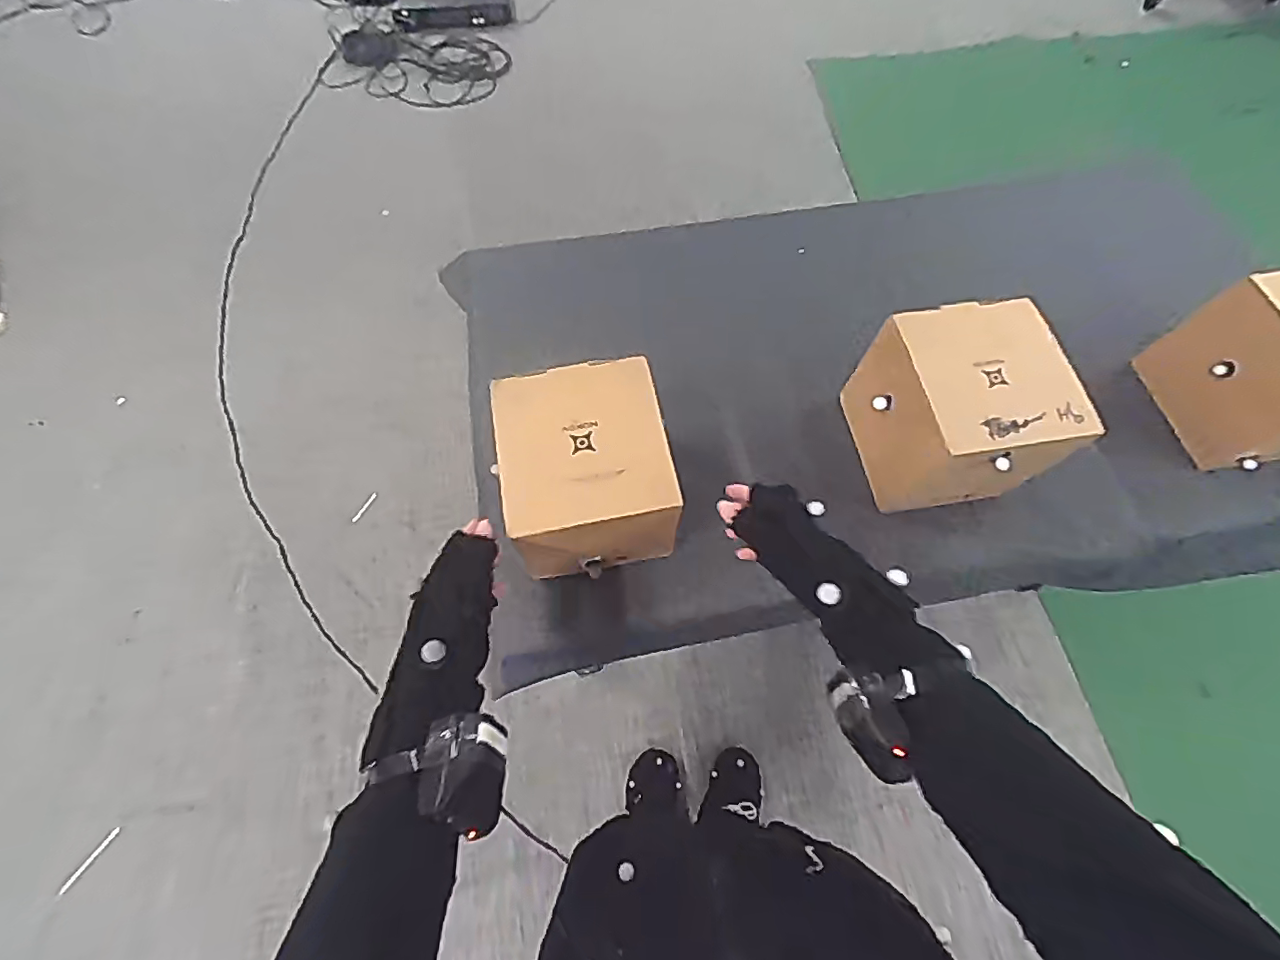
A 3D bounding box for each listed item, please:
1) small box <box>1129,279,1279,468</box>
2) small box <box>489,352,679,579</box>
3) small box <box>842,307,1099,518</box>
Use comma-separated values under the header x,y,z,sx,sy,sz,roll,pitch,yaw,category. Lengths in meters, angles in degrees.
x,y,z,sx,sy,sz,roll,pitch,yaw,category
0.780,-0.126,0.665,0.168,0.176,0.179,-8,65,-4,small box
-0.058,-0.009,0.581,0.168,0.176,0.179,-9,66,-3,small box
0.363,-0.074,0.638,0.168,0.176,0.179,-8,66,-4,small box
